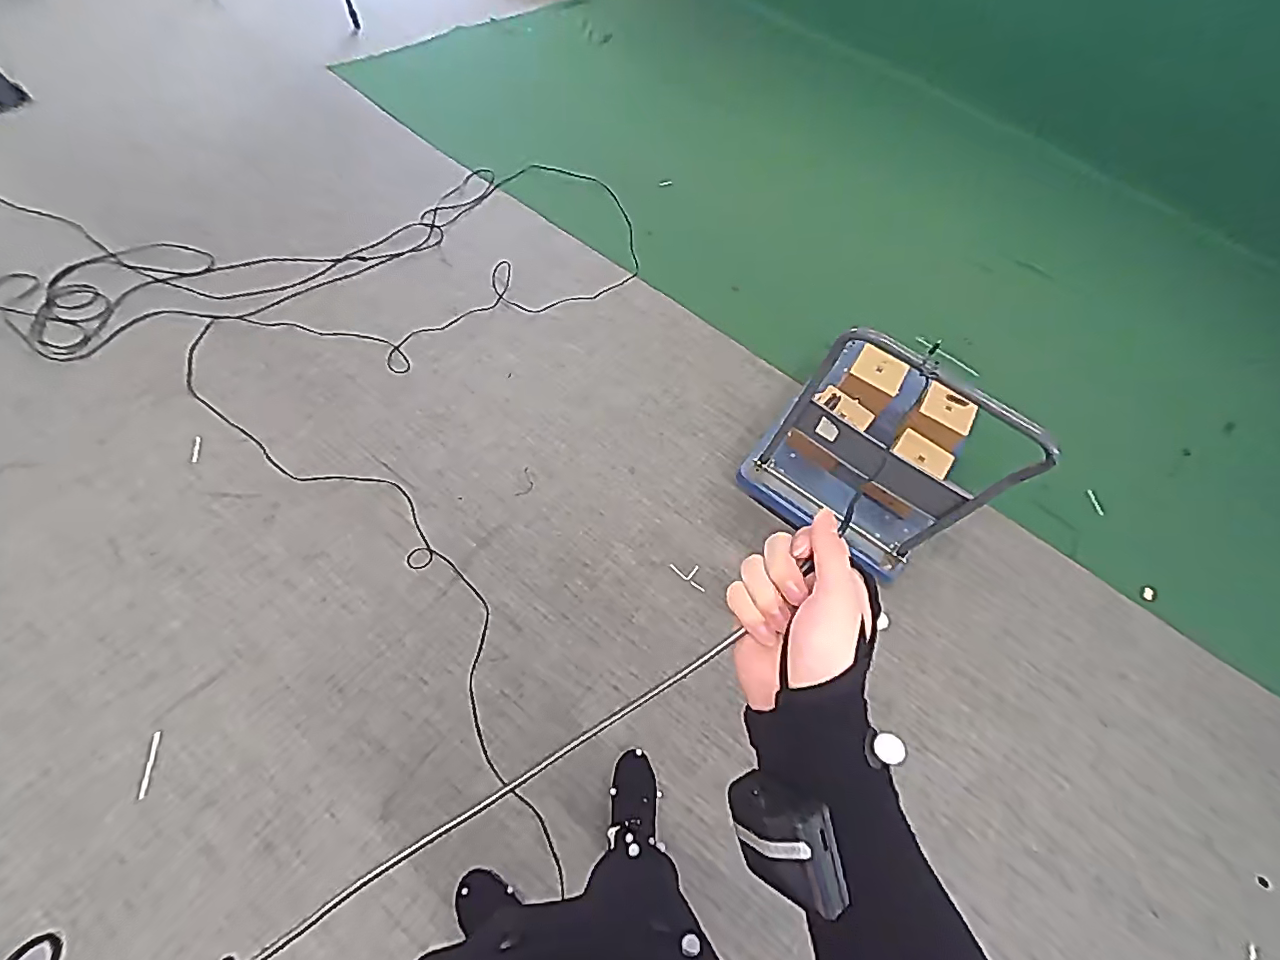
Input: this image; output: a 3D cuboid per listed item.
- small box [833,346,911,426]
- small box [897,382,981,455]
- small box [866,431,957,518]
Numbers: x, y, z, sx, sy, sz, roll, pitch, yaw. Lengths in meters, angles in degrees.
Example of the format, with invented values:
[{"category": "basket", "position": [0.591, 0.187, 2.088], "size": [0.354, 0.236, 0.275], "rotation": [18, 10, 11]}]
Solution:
[{"category": "small box", "position": [0.793, -0.320, 1.870], "size": [0.168, 0.176, 0.179], "rotation": [33, 60, 10]}, {"category": "small box", "position": [1.003, -0.189, 1.826], "size": [0.168, 0.176, 0.179], "rotation": [32, 61, 11]}, {"category": "small box", "position": [0.843, -0.014, 1.696], "size": [0.168, 0.176, 0.179], "rotation": [37, 62, 13]}]
